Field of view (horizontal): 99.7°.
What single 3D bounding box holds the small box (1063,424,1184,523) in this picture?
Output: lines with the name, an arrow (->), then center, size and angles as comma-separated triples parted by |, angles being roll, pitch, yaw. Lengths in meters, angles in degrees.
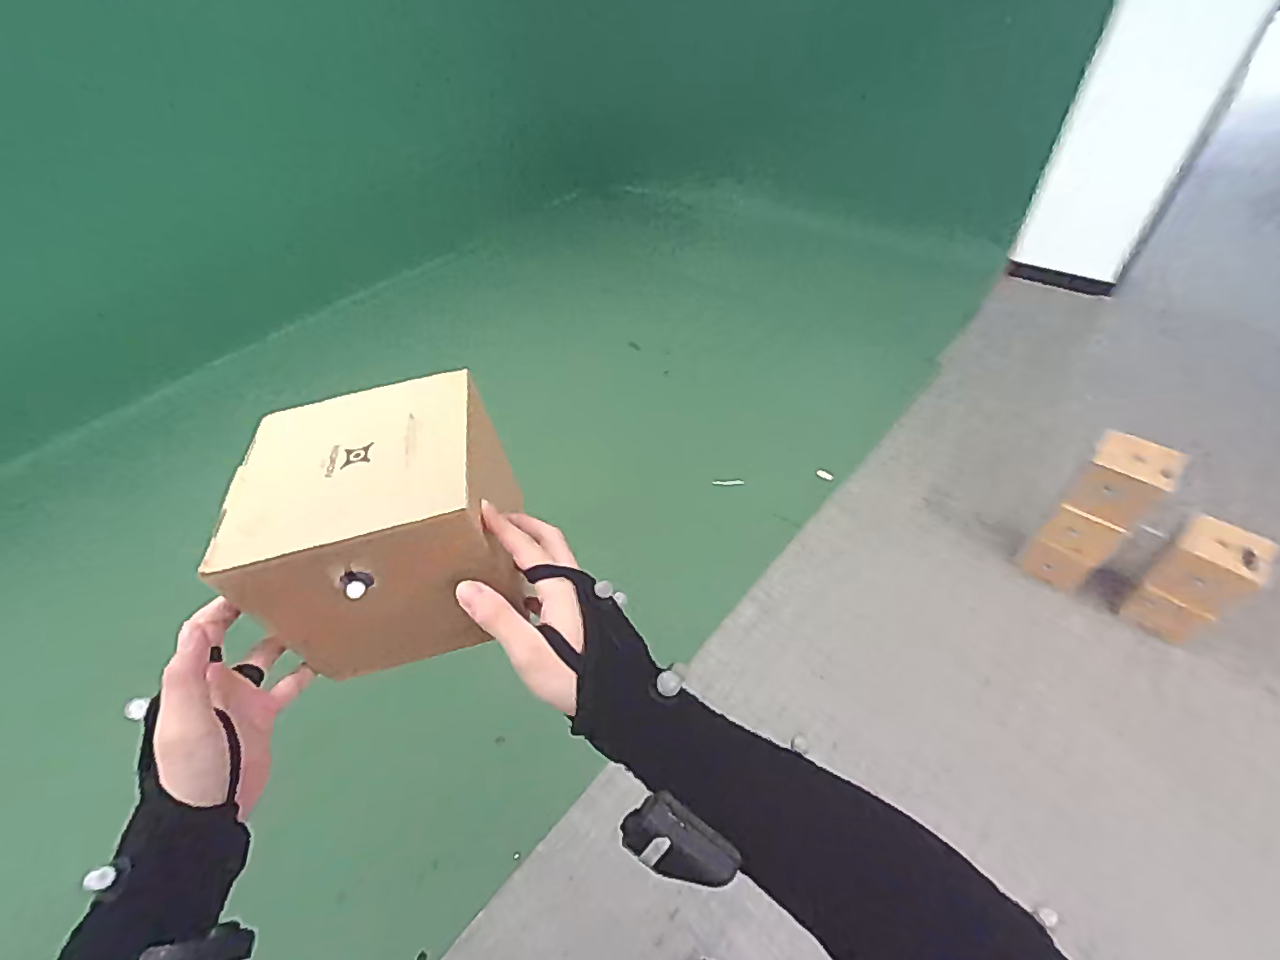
small box -> 1.291, -0.014, 1.456 | 0.179, 0.176, 0.168 | 31, 59, 31

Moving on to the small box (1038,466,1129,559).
small box -> 1.304, 0.098, 1.576 | 0.168, 0.176, 0.179 | 31, 58, 30

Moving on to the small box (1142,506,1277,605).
small box -> 1.513, 0.209, 1.444 | 0.168, 0.176, 0.179 | -39, 54, -25

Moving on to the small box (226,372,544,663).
small box -> -0.194, 0.036, 0.471 | 0.179, 0.176, 0.168 | -13, 46, -3

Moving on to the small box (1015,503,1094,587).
small box -> 1.319, 0.203, 1.697 | 0.168, 0.176, 0.179 | 34, 61, 31
